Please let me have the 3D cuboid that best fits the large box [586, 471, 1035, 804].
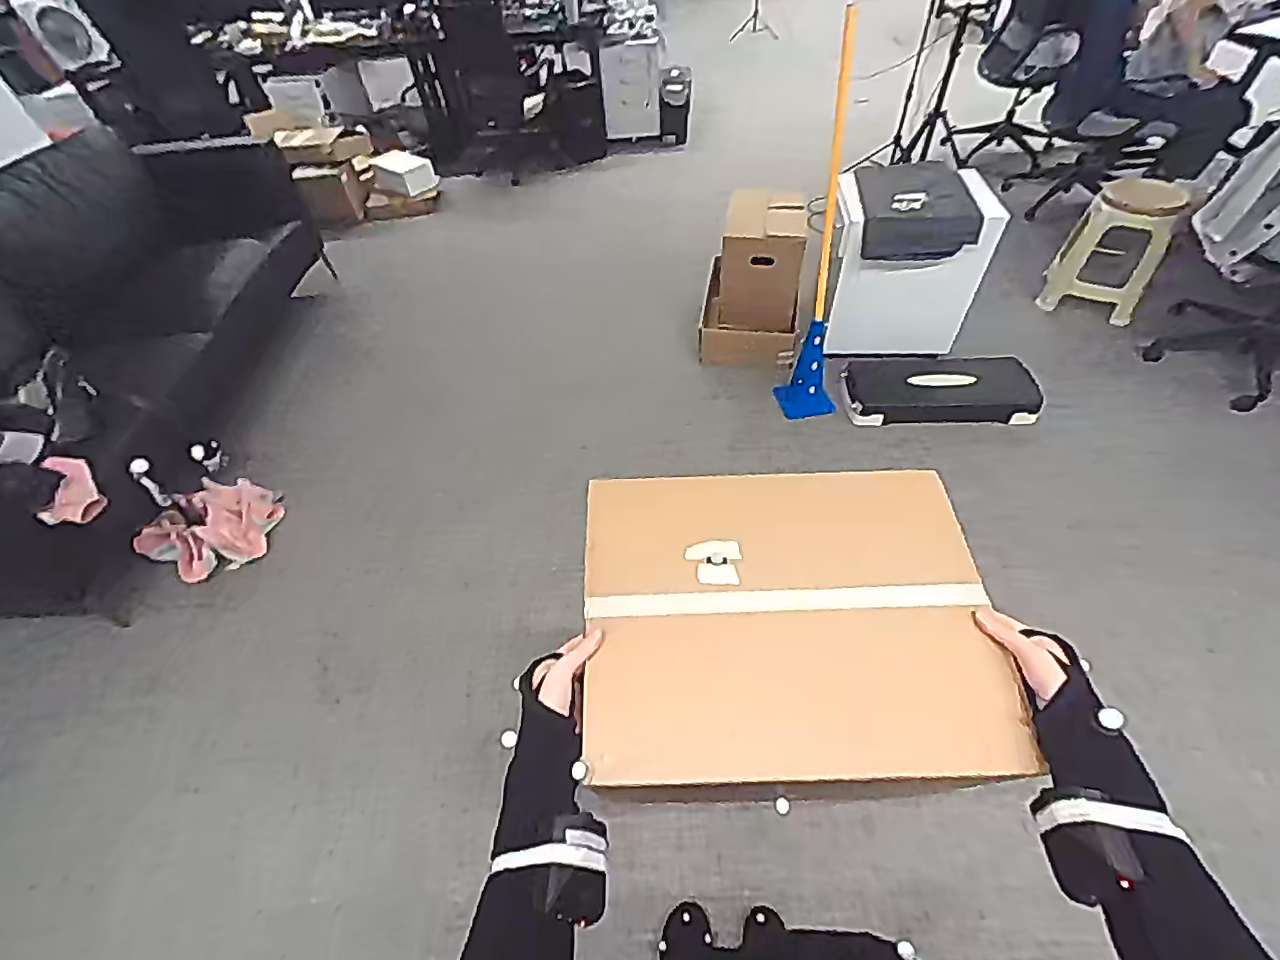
[{"bbox_3d":[0.152,0.212,0.679,0.408,0.320,0.320,-3,55,1],"label":"large box"}]
